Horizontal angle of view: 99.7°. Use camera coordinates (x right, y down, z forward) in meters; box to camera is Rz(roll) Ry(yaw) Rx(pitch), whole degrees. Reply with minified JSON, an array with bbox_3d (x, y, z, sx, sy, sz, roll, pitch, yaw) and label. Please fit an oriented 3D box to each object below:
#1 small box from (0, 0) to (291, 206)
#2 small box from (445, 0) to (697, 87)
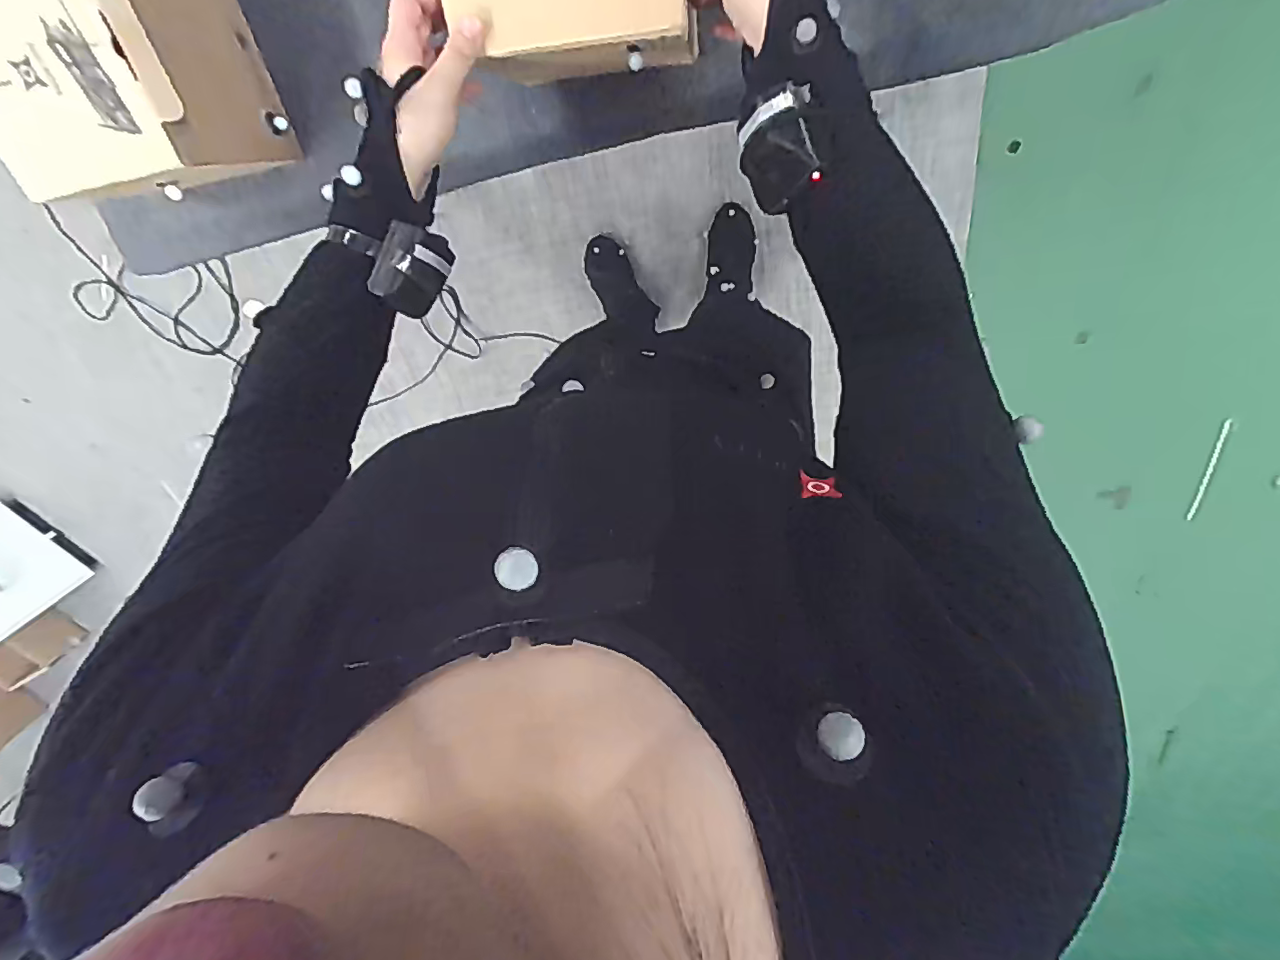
[{"bbox_3d":[-0.474,-0.371,0.509,0.179,0.176,0.168,-5,122,11],"label":"small box"},{"bbox_3d":[-0.048,-0.421,0.421,0.179,0.176,0.168,-1,122,9],"label":"small box"}]
